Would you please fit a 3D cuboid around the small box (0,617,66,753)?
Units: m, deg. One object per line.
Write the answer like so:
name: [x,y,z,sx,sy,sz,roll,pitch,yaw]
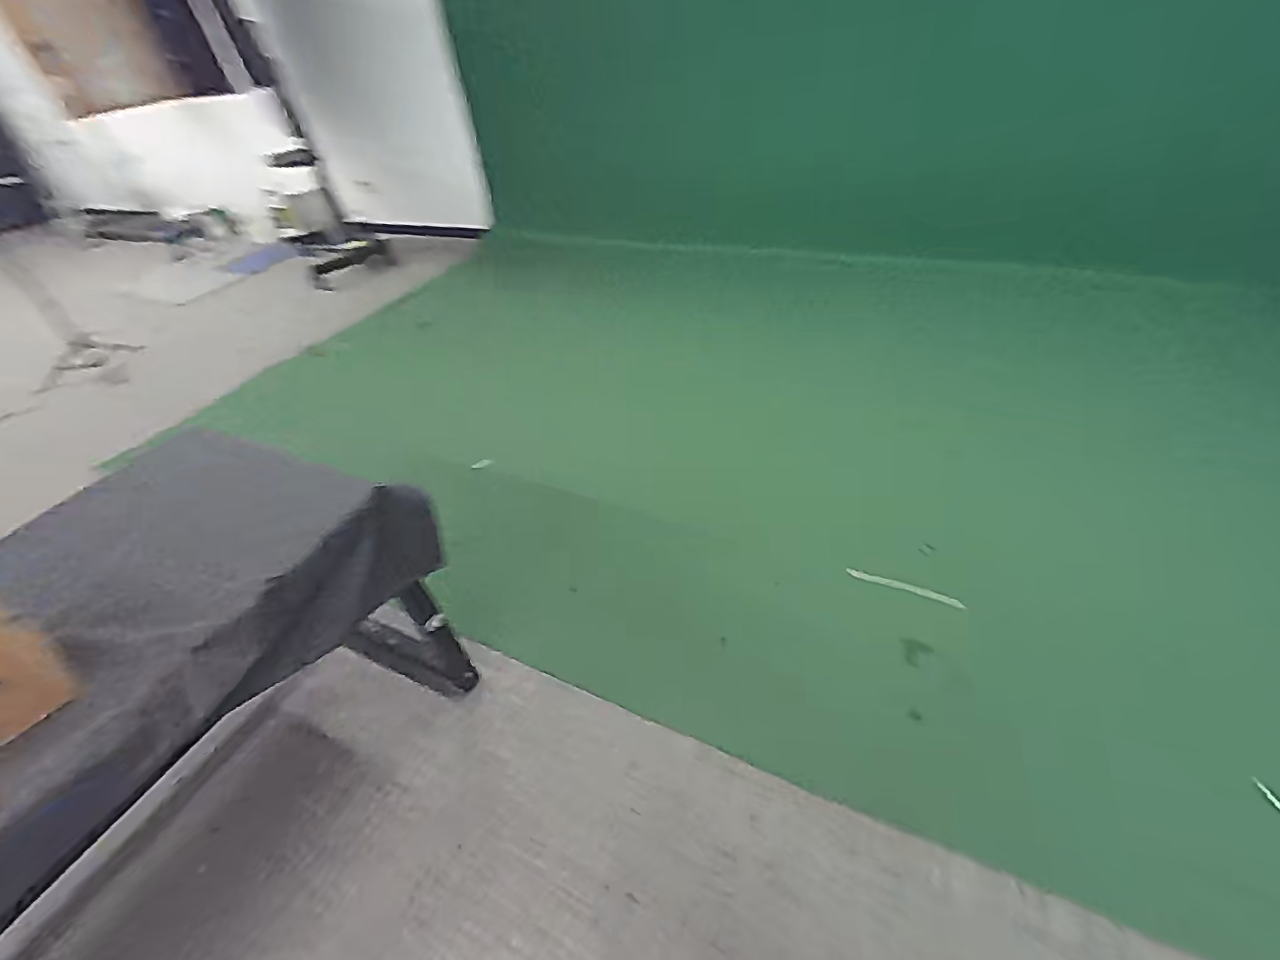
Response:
small box: [-0.909,0.273,0.698,0.168,0.176,0.179,21,50,31]
